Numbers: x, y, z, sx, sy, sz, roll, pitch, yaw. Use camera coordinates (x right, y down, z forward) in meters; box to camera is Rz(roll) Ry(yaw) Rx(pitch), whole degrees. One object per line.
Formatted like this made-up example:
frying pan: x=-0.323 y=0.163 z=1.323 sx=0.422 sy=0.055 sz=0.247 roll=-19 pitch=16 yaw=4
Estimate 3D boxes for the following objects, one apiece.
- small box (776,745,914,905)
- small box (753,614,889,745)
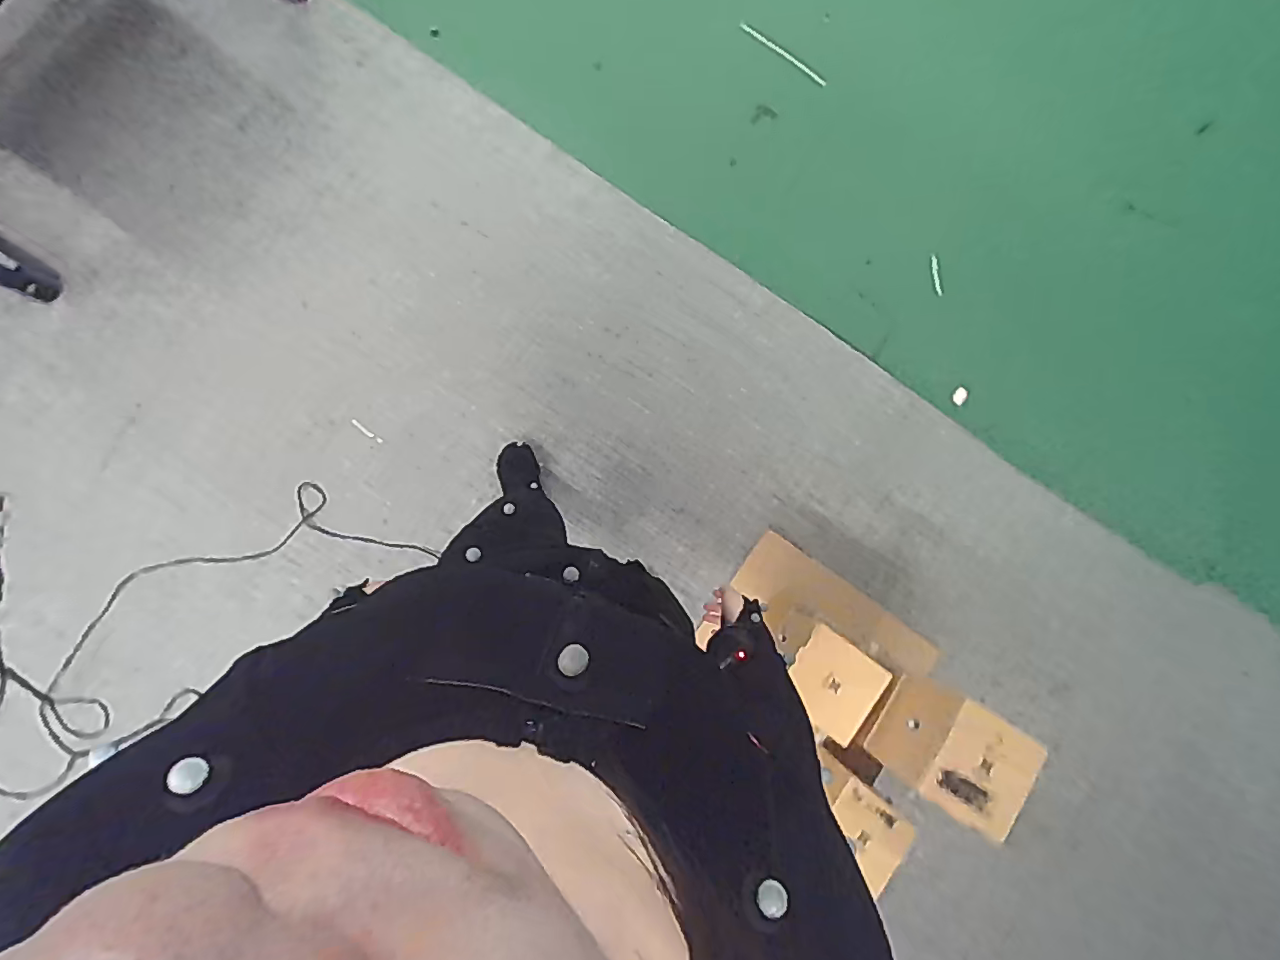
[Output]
small box: x=0.399 y=0.682 z=1.092 sx=0.168 sy=0.176 sz=0.179 roll=40 pitch=82 yaw=1
small box: x=0.362 y=0.397 z=1.115 sx=0.179 sy=0.176 sz=0.168 roll=37 pitch=85 yaw=2
